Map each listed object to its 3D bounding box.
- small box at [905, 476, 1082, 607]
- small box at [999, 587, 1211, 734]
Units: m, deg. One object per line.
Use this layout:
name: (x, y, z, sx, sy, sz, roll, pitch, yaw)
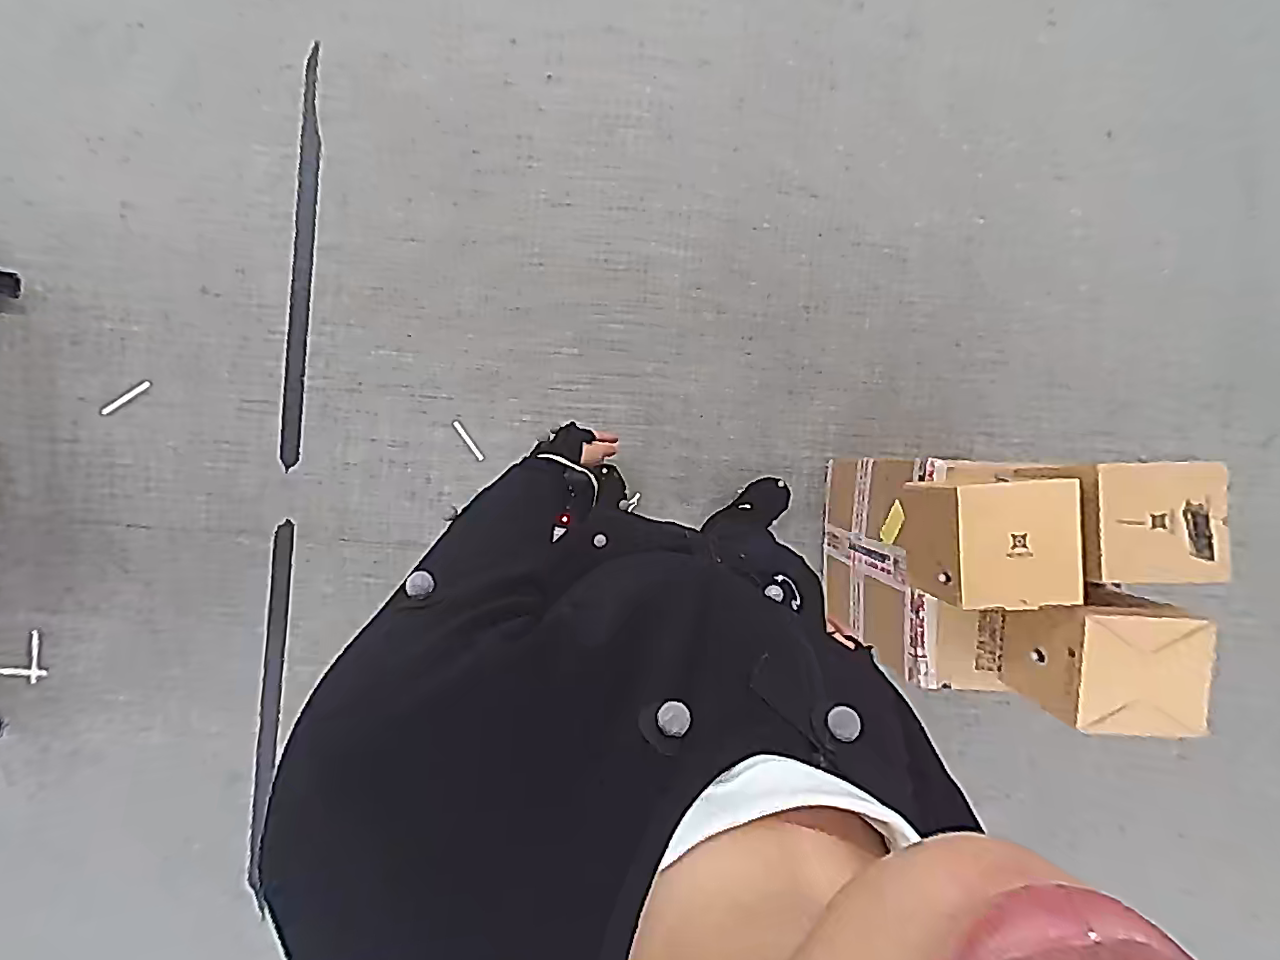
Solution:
small box: (0.521, 0.084, 0.820, 0.168, 0.176, 0.179, -3, 91, 2)
small box: (0.686, 0.261, 0.815, 0.179, 0.176, 0.168, 2, 94, 1)
